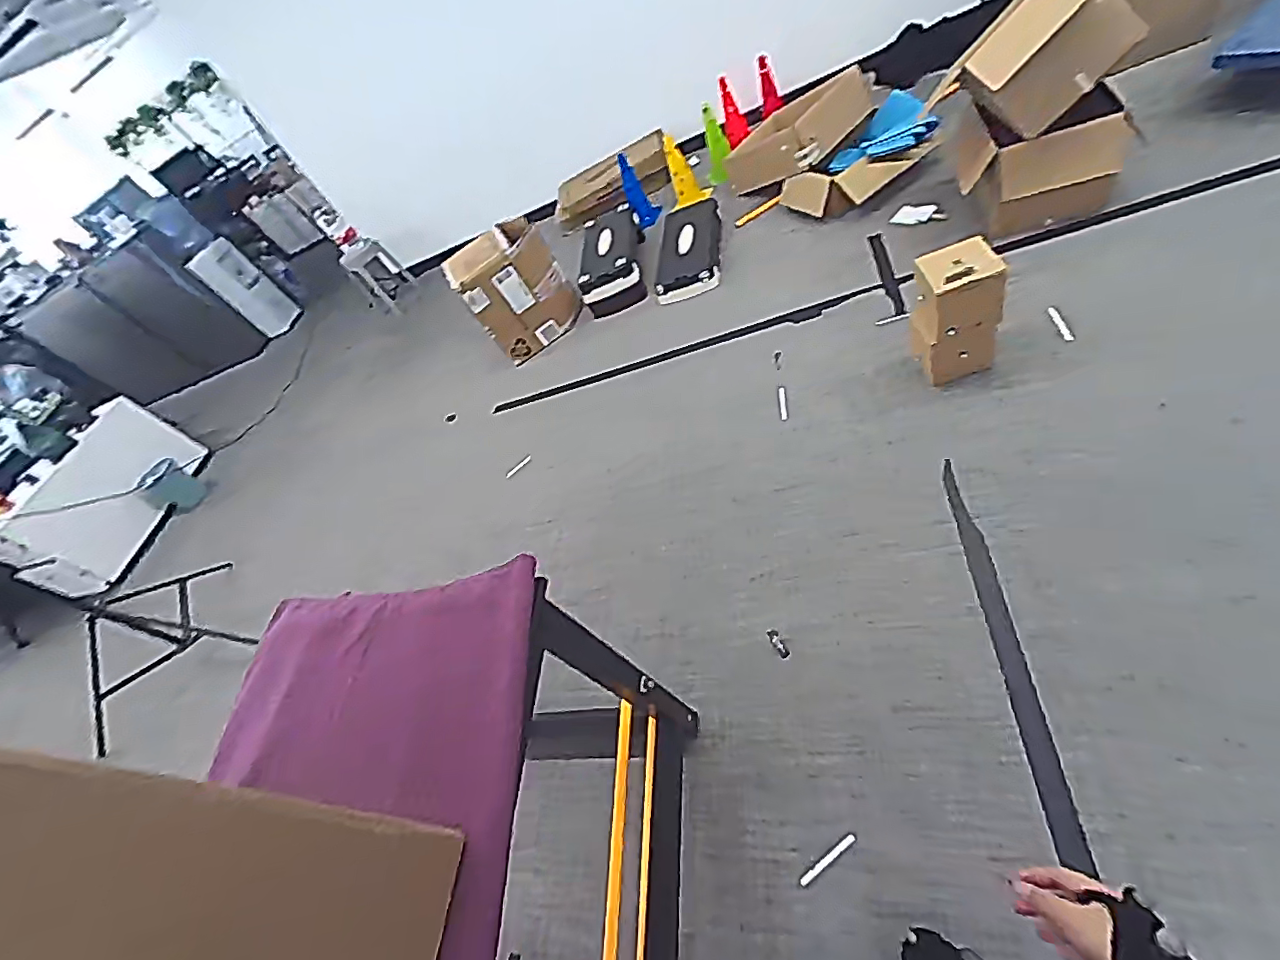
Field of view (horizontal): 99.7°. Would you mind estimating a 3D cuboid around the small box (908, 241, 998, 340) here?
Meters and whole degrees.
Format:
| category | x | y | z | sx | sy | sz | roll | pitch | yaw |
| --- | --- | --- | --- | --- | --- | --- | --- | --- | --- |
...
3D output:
| category | x | y | z | sx | sy | sz | roll | pitch | yaw |
| --- | --- | --- | --- | --- | --- | --- | --- | --- | --- |
| small box | 0.849 | -0.505 | 1.472 | 0.168 | 0.176 | 0.179 | -17 | 47 | 17 |
